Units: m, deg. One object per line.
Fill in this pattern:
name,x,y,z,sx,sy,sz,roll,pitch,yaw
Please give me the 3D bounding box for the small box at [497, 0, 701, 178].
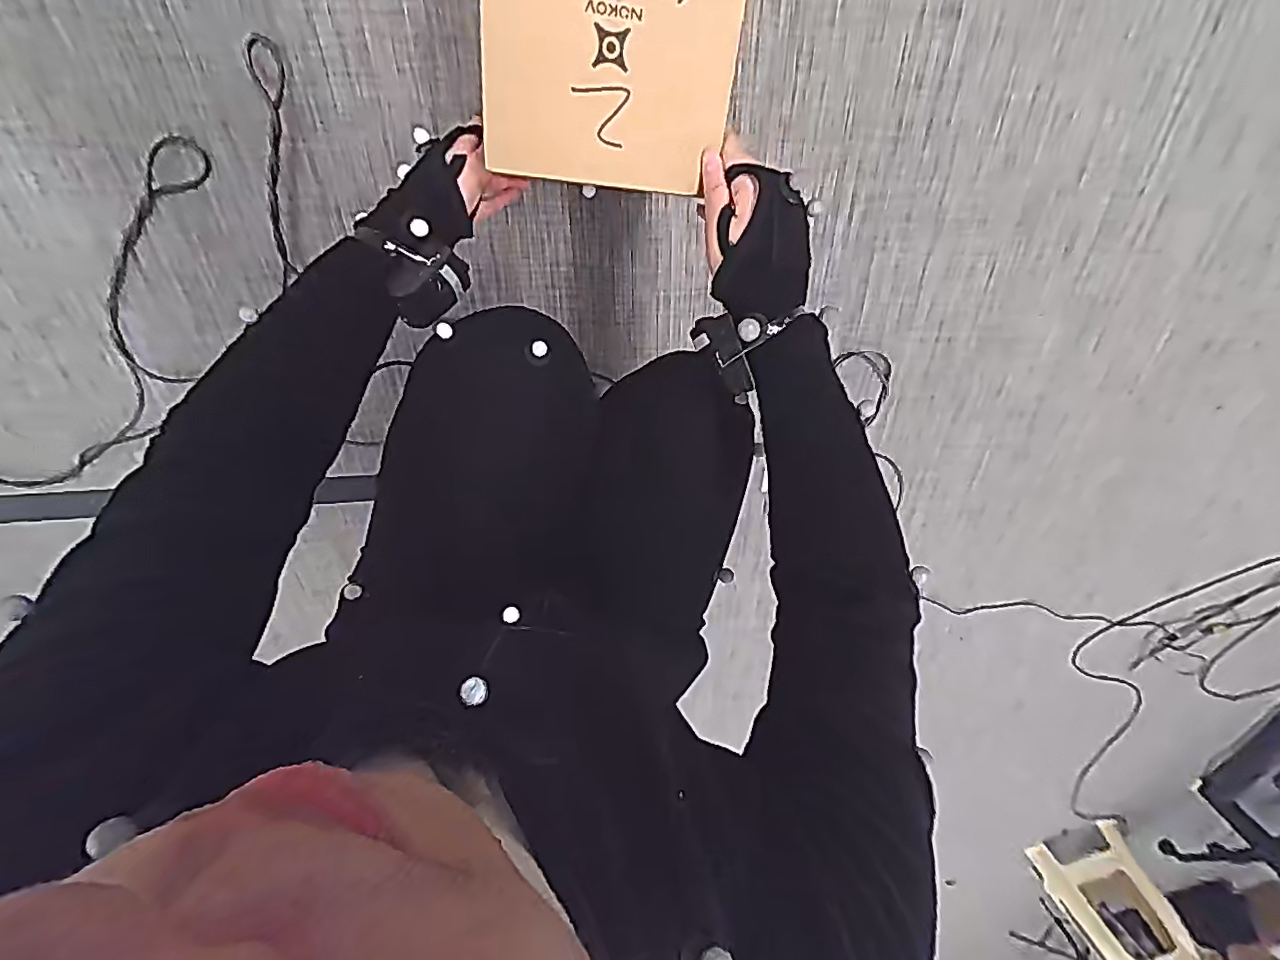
small box,-0.047,-0.412,0.551,0.179,0.176,0.168,0,122,-10
